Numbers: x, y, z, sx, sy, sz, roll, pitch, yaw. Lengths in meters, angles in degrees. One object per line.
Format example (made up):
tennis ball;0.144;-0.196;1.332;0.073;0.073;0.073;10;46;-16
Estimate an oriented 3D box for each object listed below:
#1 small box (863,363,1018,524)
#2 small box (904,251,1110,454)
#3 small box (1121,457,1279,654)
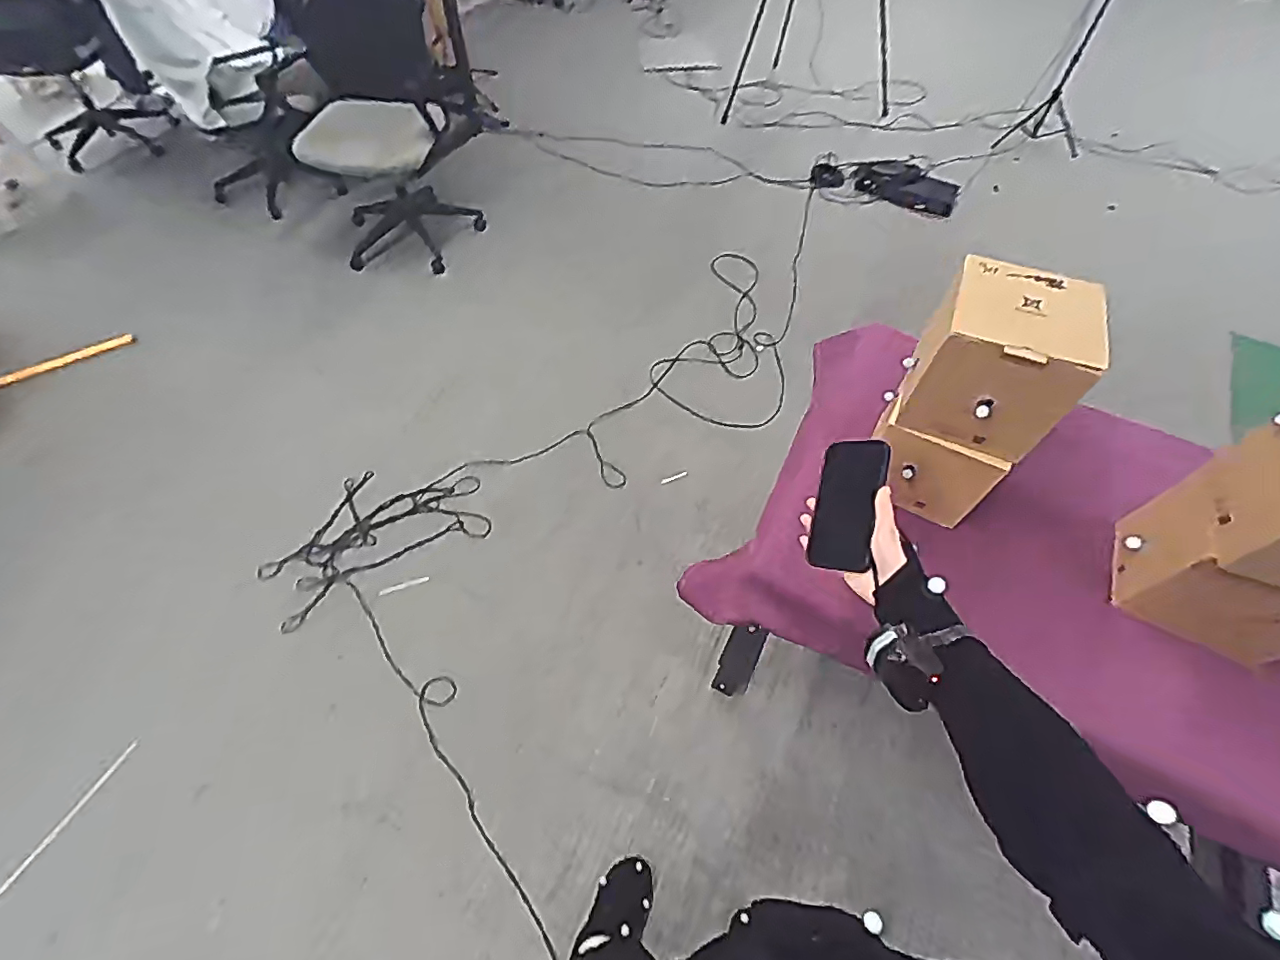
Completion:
small box;0.467;-0.062;0.840;0.168;0.176;0.179;25;59;18
small box;0.469;-0.163;0.710;0.168;0.176;0.179;21;58;14
small box;0.796;0.107;0.712;0.179;0.176;0.168;25;58;17
